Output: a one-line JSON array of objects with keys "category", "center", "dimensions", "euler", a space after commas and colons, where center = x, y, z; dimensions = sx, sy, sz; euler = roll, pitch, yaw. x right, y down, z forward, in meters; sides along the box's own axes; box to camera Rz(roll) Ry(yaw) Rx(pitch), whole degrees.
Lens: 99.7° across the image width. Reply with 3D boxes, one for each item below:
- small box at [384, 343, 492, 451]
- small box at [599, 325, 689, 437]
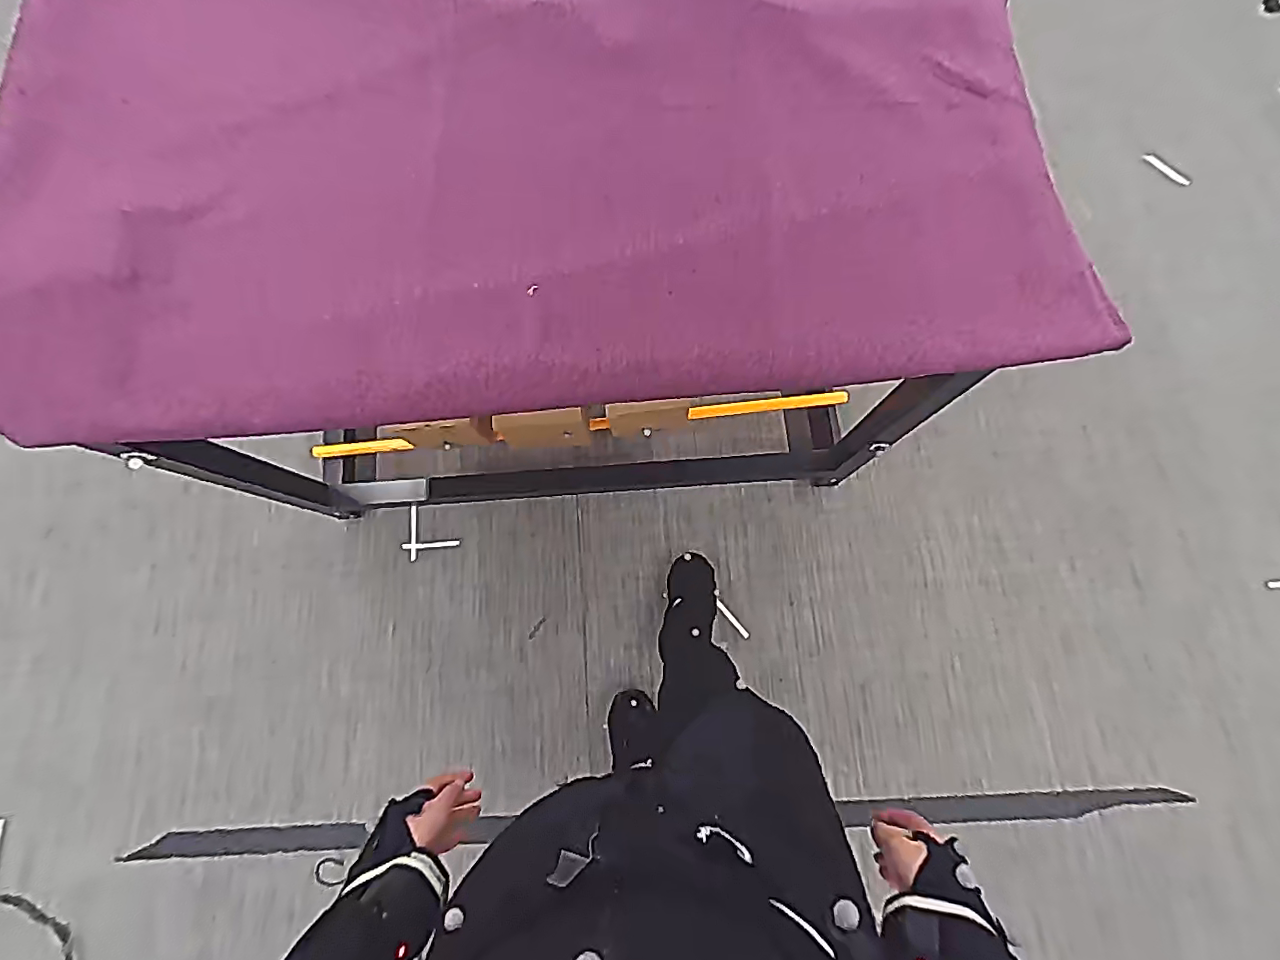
[{"category": "small box", "center": [-0.417, -0.169, 1.137], "dimensions": [0.168, 0.176, 0.179], "euler": [-4, 79, 0]}, {"category": "small box", "center": [0.008, -0.201, 1.135], "dimensions": [0.168, 0.176, 0.179], "euler": [-6, 79, 1]}]
